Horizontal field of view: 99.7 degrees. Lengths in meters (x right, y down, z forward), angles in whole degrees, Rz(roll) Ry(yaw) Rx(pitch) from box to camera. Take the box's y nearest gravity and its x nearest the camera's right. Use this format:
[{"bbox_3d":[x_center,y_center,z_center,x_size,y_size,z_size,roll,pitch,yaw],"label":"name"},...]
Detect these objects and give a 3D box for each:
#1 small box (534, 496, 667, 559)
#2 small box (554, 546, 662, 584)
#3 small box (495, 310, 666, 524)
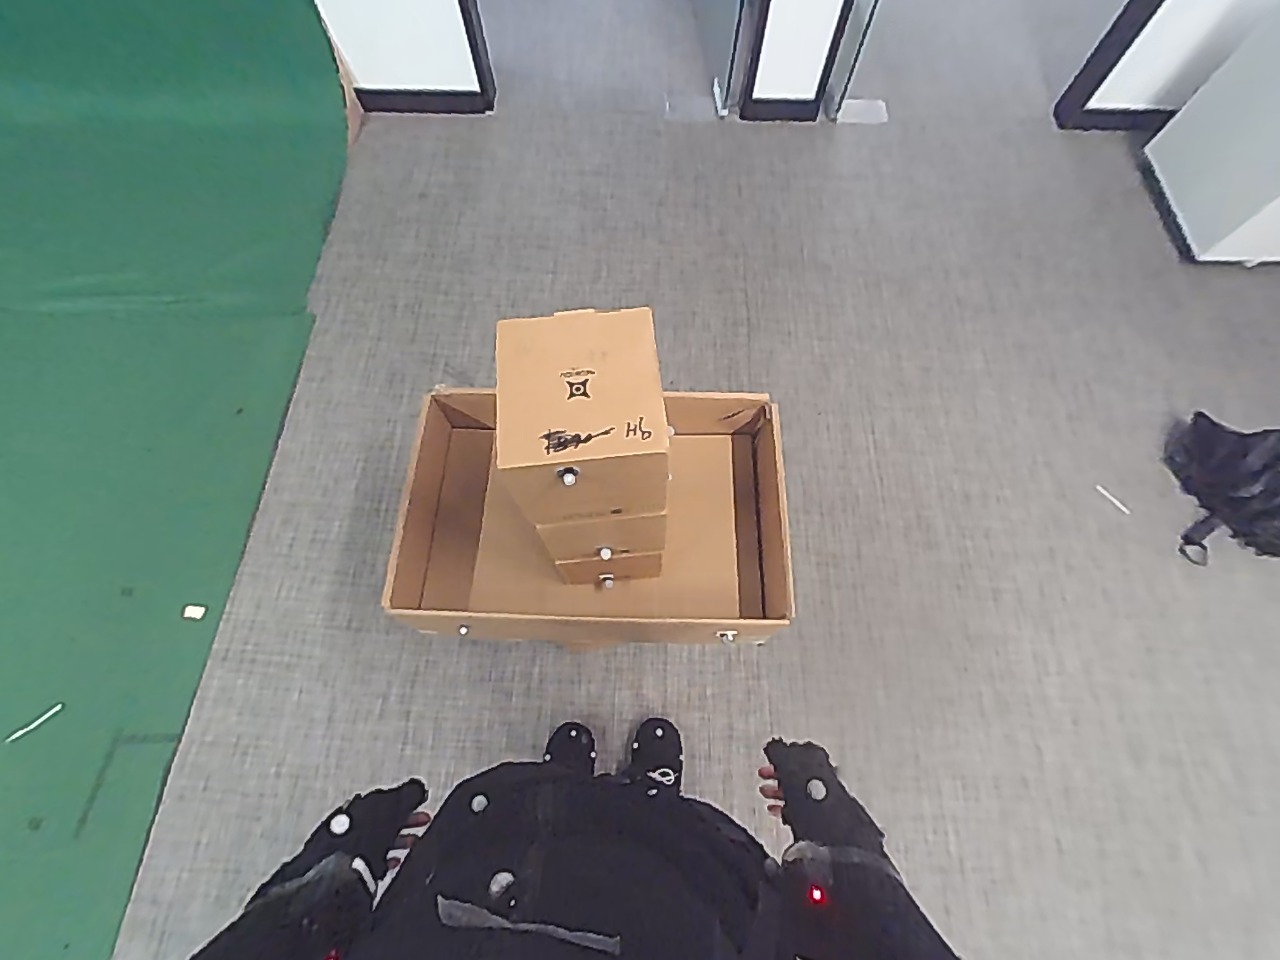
[{"bbox_3d":[-0.054,0.002,0.771,0.168,0.176,0.179,-6,67,0],"label":"small box"},{"bbox_3d":[-0.054,0.068,0.921,0.168,0.176,0.179,-5,68,-1],"label":"small box"},{"bbox_3d":[-0.061,-0.065,0.622,0.168,0.176,0.179,-6,66,0],"label":"small box"}]
